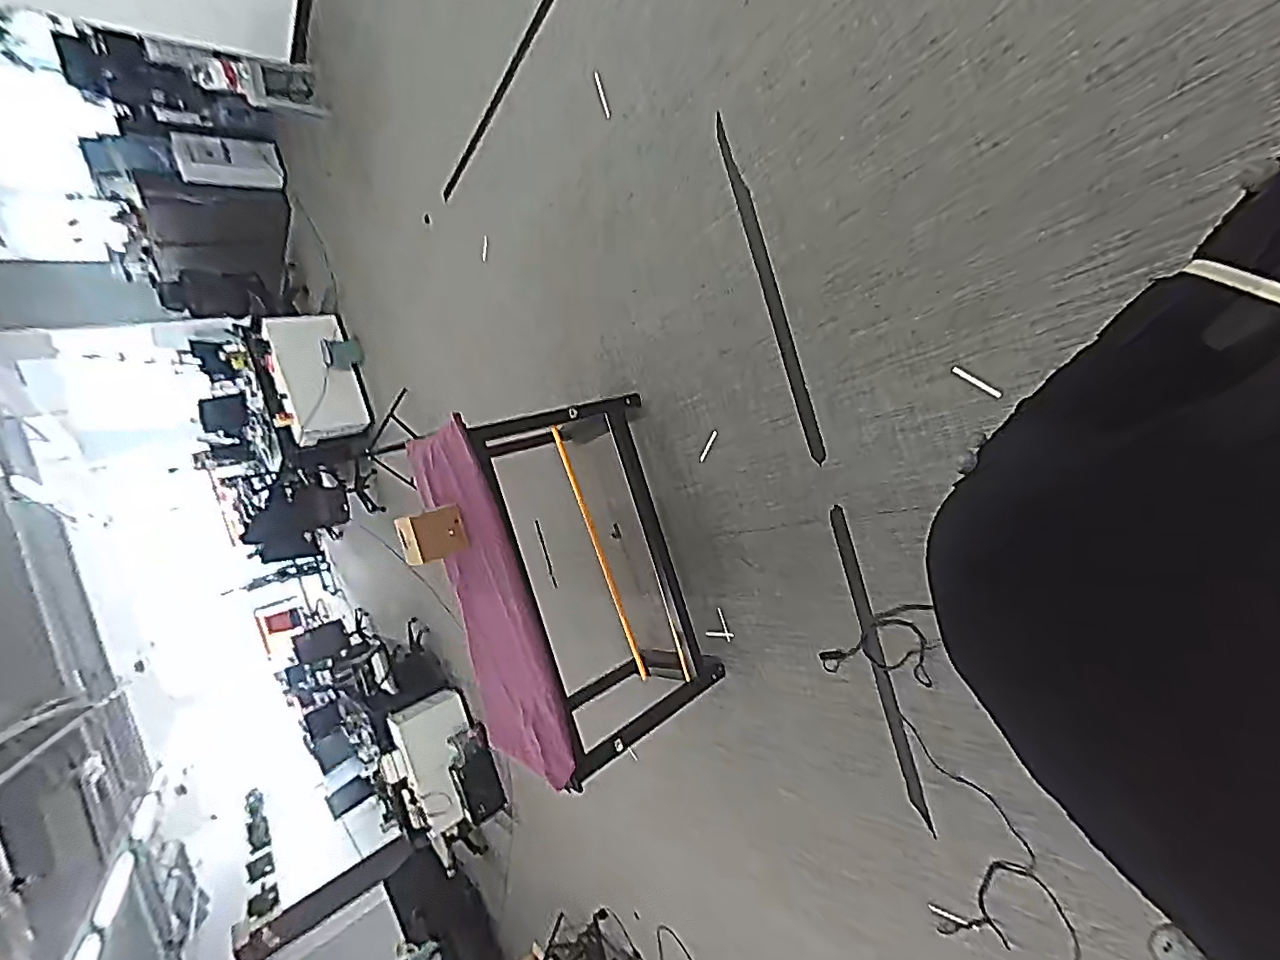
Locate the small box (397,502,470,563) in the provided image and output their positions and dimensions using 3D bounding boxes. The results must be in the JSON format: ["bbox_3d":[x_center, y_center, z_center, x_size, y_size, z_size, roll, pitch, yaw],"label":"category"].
[{"bbox_3d":[-0.711,0.181,1.866,0.179,0.176,0.168,-10,97,51],"label":"small box"}]
